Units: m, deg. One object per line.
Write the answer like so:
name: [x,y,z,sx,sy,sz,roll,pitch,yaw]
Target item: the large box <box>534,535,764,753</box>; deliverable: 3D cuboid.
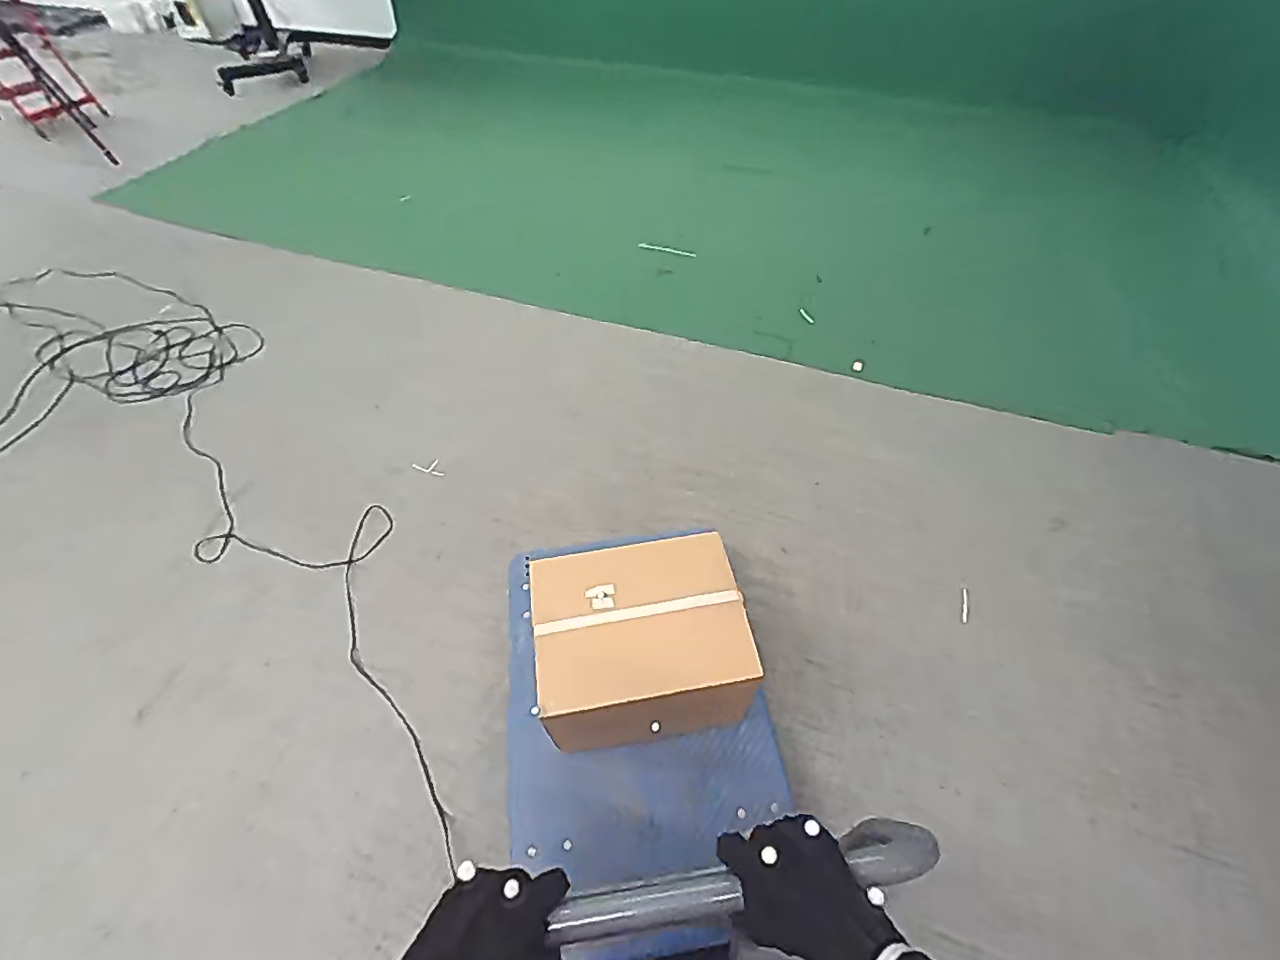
large box: [0.008,0.357,1.164,0.408,0.320,0.320,-10,52,-5]
